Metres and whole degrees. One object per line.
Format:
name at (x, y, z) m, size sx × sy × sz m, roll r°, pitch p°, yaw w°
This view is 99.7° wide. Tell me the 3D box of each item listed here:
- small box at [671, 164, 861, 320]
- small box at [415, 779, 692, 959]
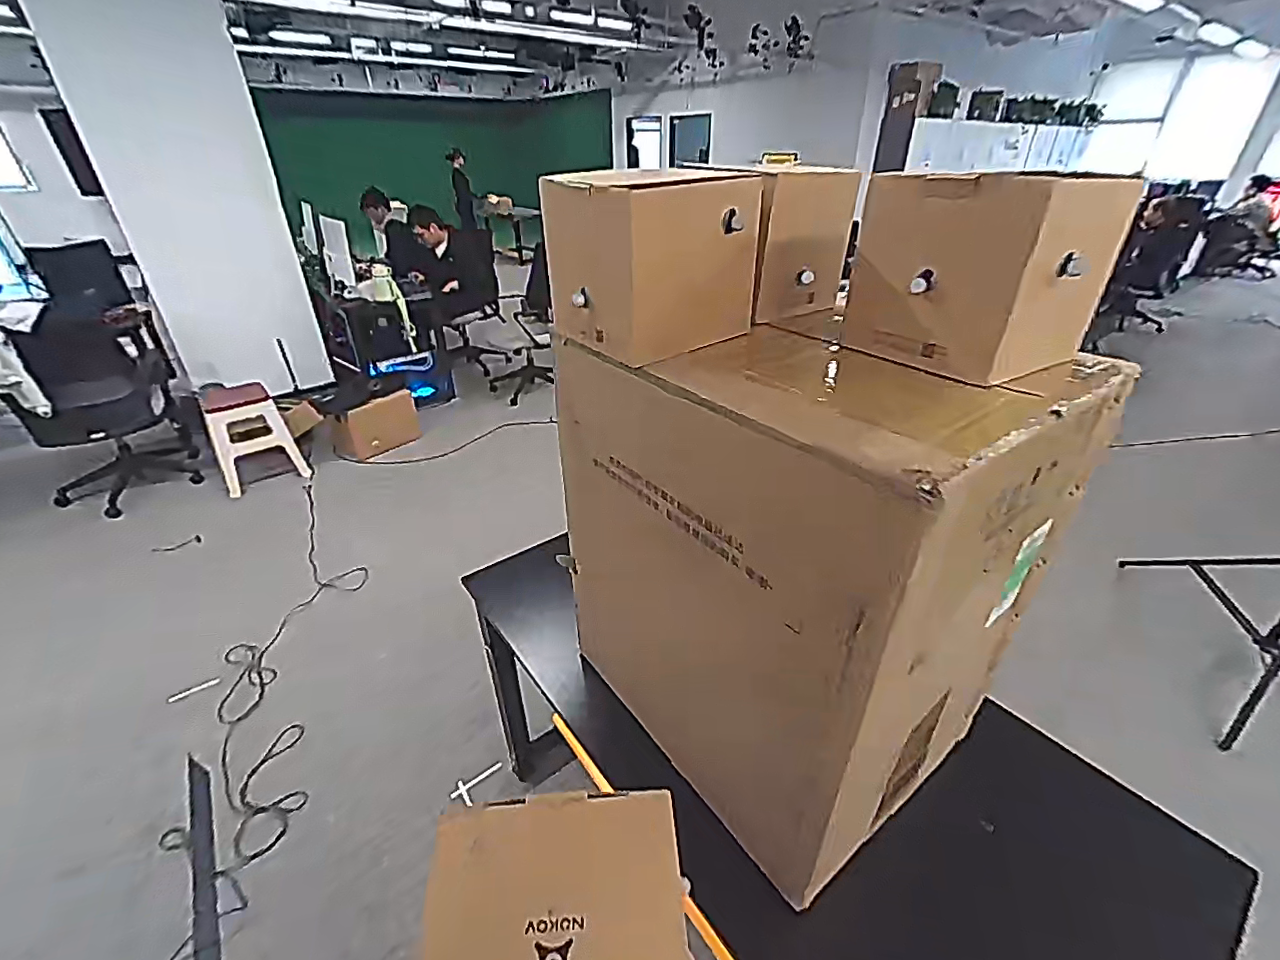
small box at (0.154, -0.321, 0.720) m, size 0.168 × 0.176 × 0.179 m, roll -21°, pitch 38°, yaw -31°
small box at (-0.055, 0.338, 0.379) m, size 0.168 × 0.176 × 0.179 m, roll -2°, pitch 42°, yaw -5°
